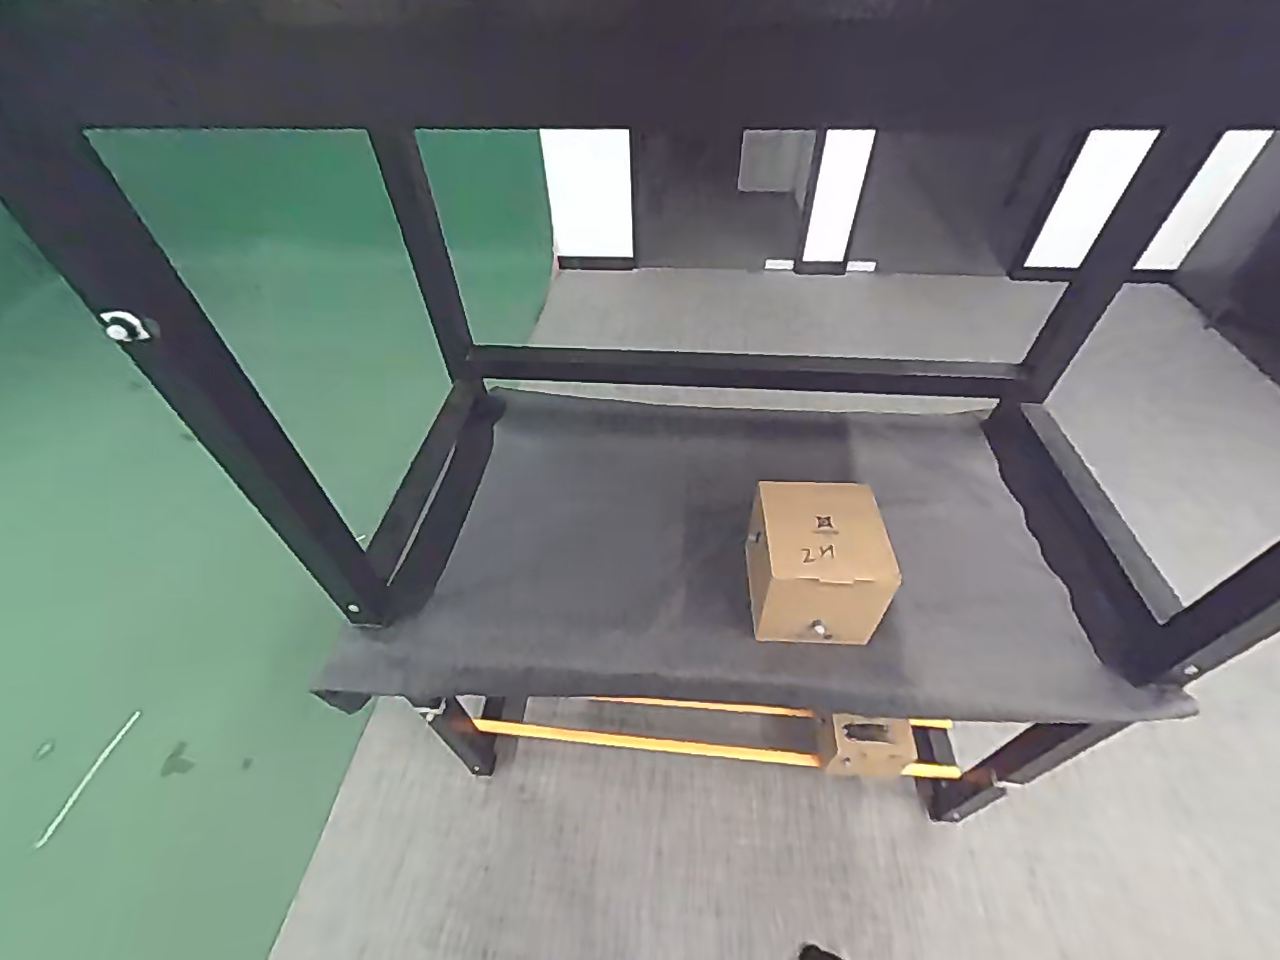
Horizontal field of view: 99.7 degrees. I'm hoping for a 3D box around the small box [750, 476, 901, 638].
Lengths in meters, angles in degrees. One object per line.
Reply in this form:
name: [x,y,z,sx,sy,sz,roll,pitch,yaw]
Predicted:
small box: [0.262,0.114,0.814,0.168,0.176,0.179,1,46,4]
